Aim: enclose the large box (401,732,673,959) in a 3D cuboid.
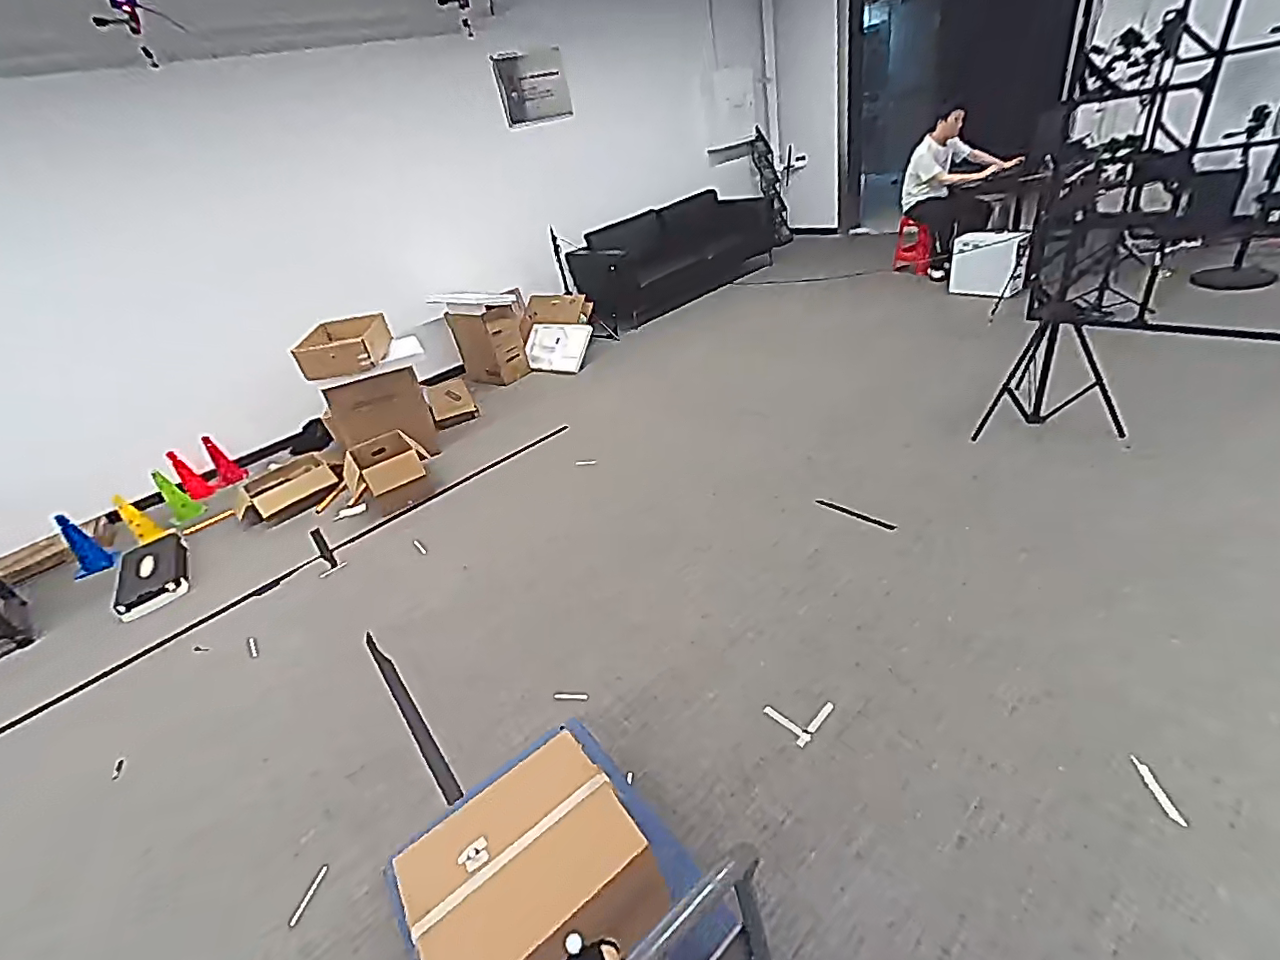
[{"bbox_3d":[-0.196,0.830,1.110,0.408,0.320,0.320,-31,35,-24],"label":"large box"}]
